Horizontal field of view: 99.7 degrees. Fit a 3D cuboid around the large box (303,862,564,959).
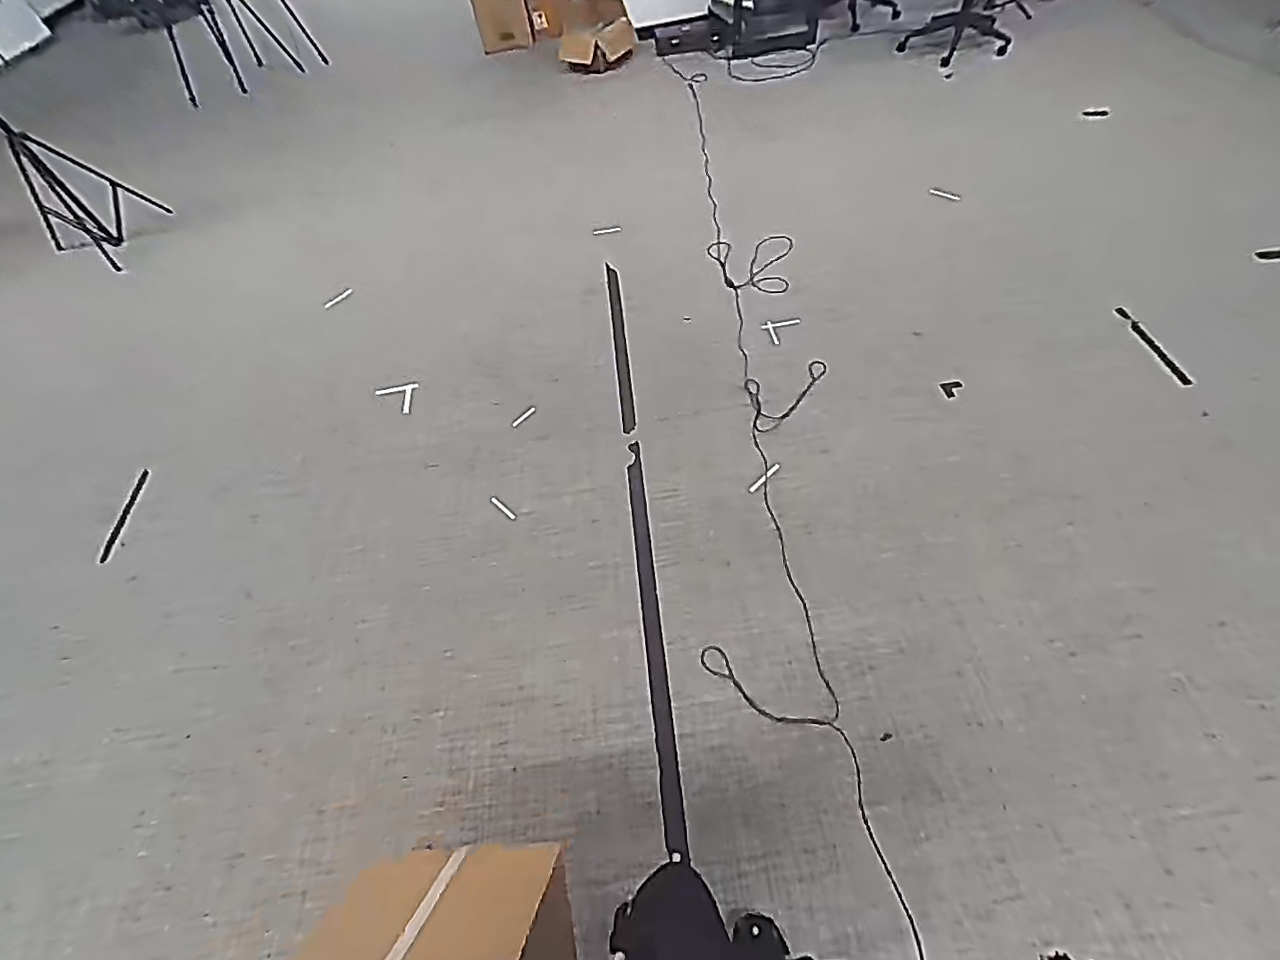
[{"bbox_3d":[-0.277,0.757,0.650,0.320,0.408,0.320,-9,89,5],"label":"large box"}]
